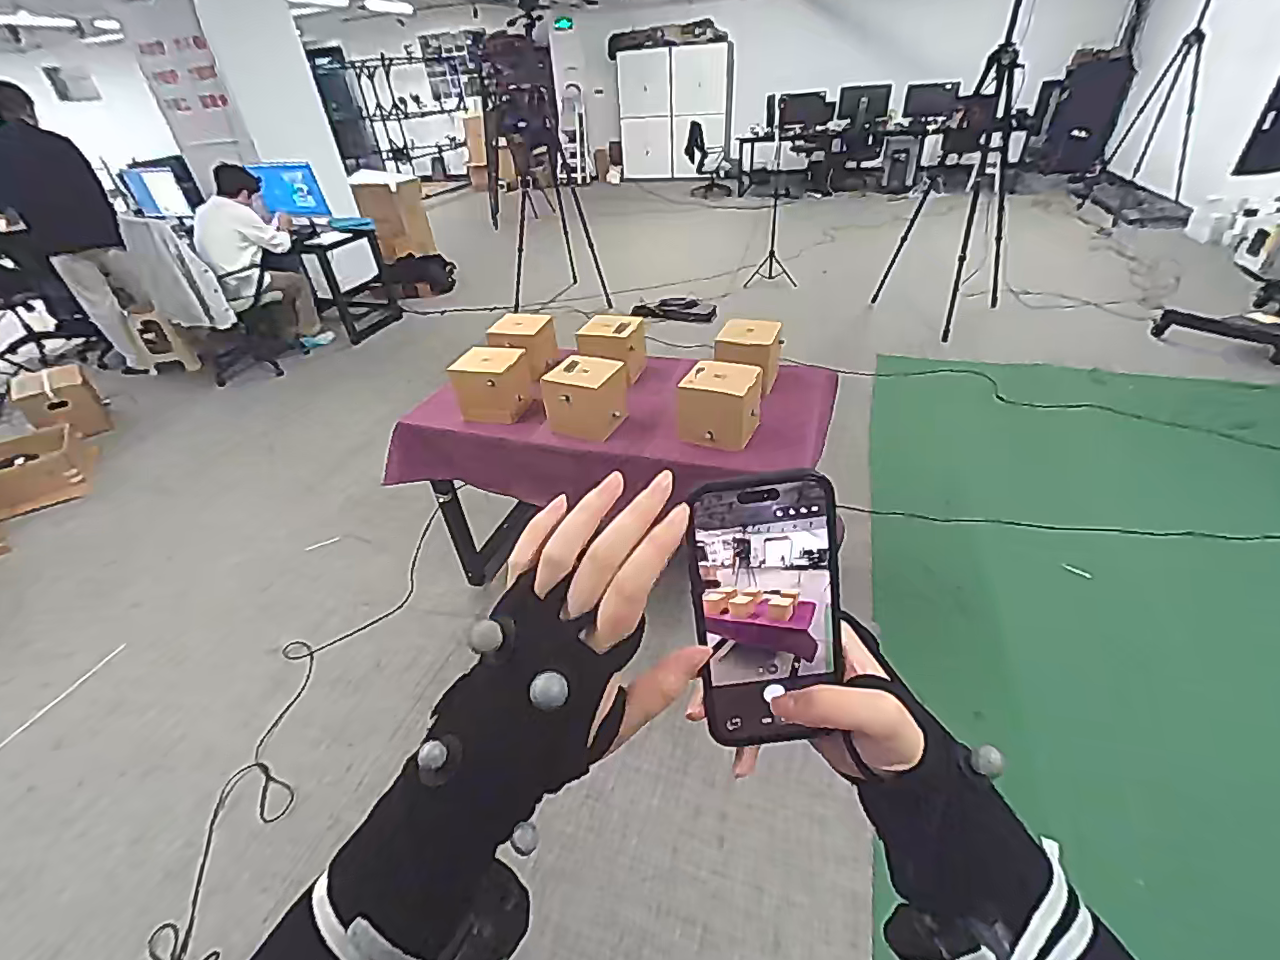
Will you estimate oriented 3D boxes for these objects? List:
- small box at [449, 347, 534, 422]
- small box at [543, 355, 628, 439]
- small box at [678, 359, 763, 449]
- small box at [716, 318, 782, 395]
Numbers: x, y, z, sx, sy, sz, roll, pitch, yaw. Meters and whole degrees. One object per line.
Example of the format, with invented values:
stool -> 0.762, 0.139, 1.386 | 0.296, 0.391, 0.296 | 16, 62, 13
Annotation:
small box -> -0.437, -0.287, 1.621 | 0.179, 0.176, 0.168 | 6, 38, 12
small box -> -0.146, -0.233, 1.516 | 0.179, 0.176, 0.168 | 14, 40, 22
small box -> 0.213, -0.199, 1.430 | 0.179, 0.176, 0.168 | 14, 40, 23
small box -> 0.331, -0.380, 1.658 | 0.168, 0.176, 0.179 | 11, 40, 21
